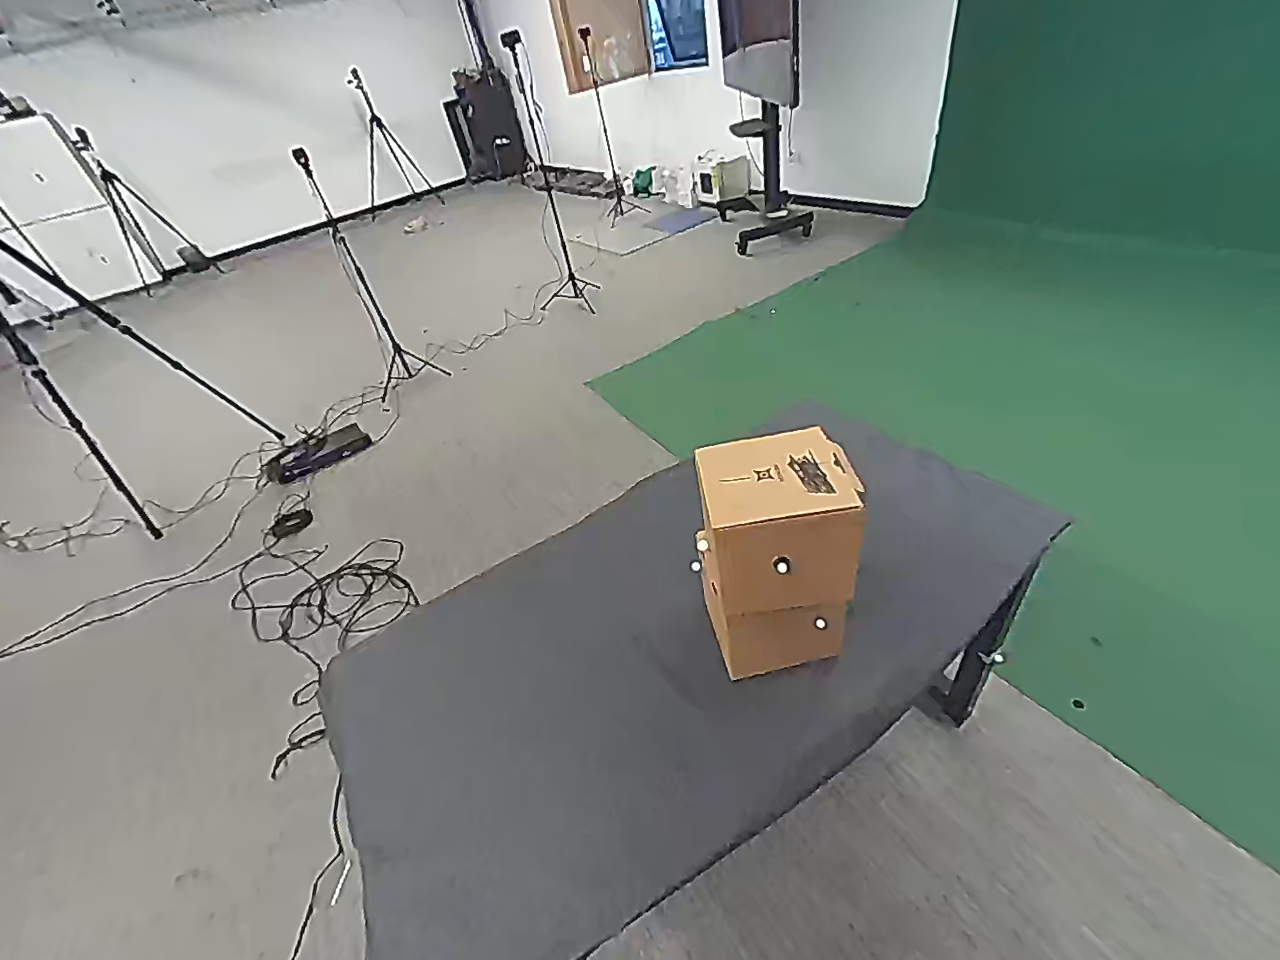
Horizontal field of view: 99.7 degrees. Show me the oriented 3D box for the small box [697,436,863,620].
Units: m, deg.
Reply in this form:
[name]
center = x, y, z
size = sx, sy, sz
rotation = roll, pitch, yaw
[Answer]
[small box]
center = 0.177, 0.066, 0.724
size = 0.179, 0.176, 0.168
rotation = -9, 38, 5
